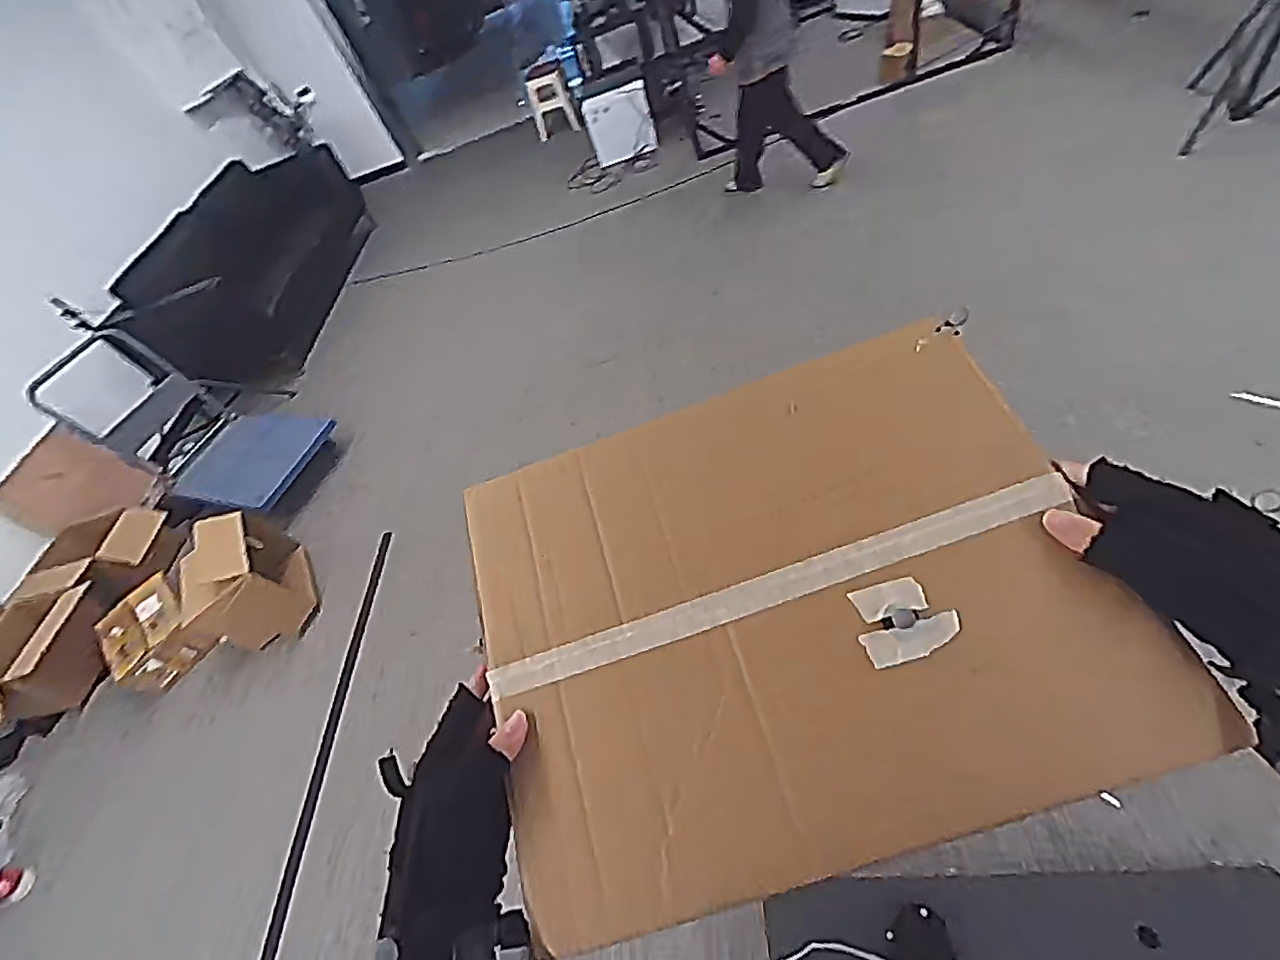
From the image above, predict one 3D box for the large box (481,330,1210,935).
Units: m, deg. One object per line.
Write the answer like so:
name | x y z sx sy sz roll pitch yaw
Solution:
large box | 0.121 0.136 0.509 0.408 0.320 0.320 -20 64 3
